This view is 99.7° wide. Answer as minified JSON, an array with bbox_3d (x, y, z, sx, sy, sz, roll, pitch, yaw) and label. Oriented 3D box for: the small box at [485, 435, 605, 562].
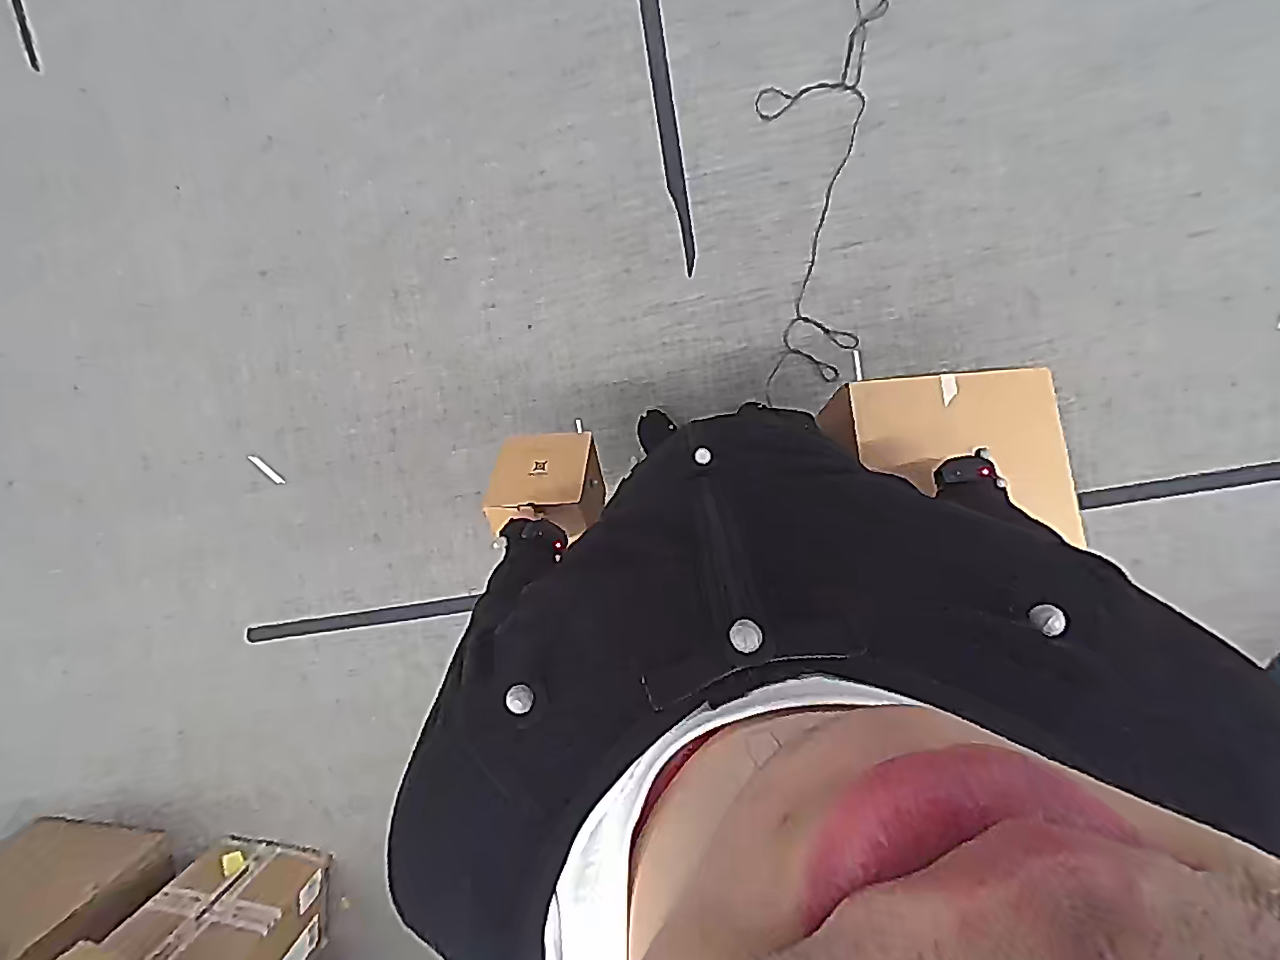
[{"bbox_3d":[-0.162,0.039,0.994,0.168,0.179,0.176,-2,137,6],"label":"small box"}]
